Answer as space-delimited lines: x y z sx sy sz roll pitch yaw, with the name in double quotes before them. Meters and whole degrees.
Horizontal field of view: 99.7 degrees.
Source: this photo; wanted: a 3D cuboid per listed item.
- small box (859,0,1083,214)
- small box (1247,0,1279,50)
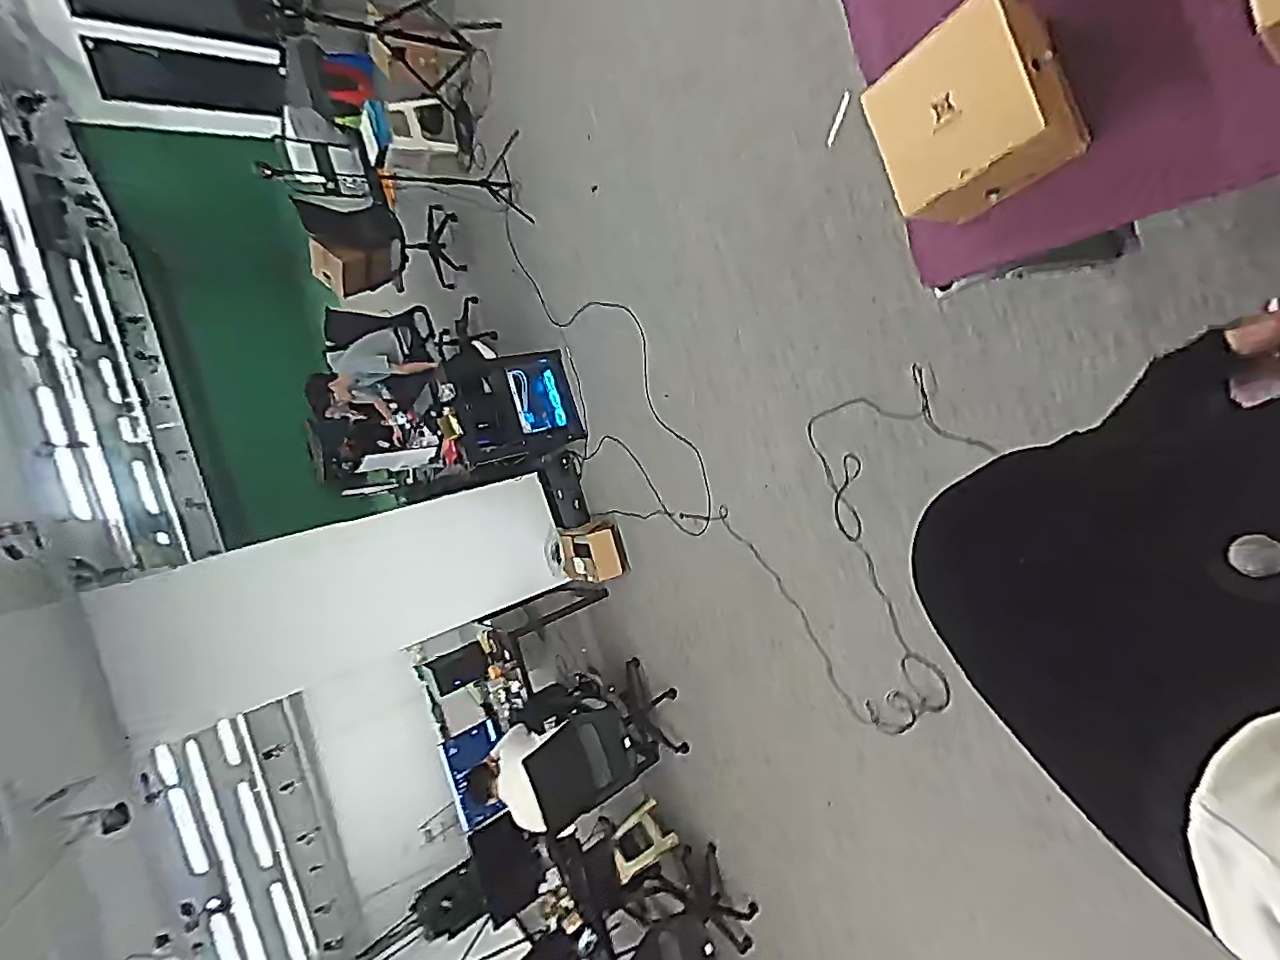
"small box" 0.420 -0.464 0.689 0.168 0.176 0.179 -22 88 54
"small box" 0.600 -0.490 0.423 0.179 0.176 0.168 -15 93 57
